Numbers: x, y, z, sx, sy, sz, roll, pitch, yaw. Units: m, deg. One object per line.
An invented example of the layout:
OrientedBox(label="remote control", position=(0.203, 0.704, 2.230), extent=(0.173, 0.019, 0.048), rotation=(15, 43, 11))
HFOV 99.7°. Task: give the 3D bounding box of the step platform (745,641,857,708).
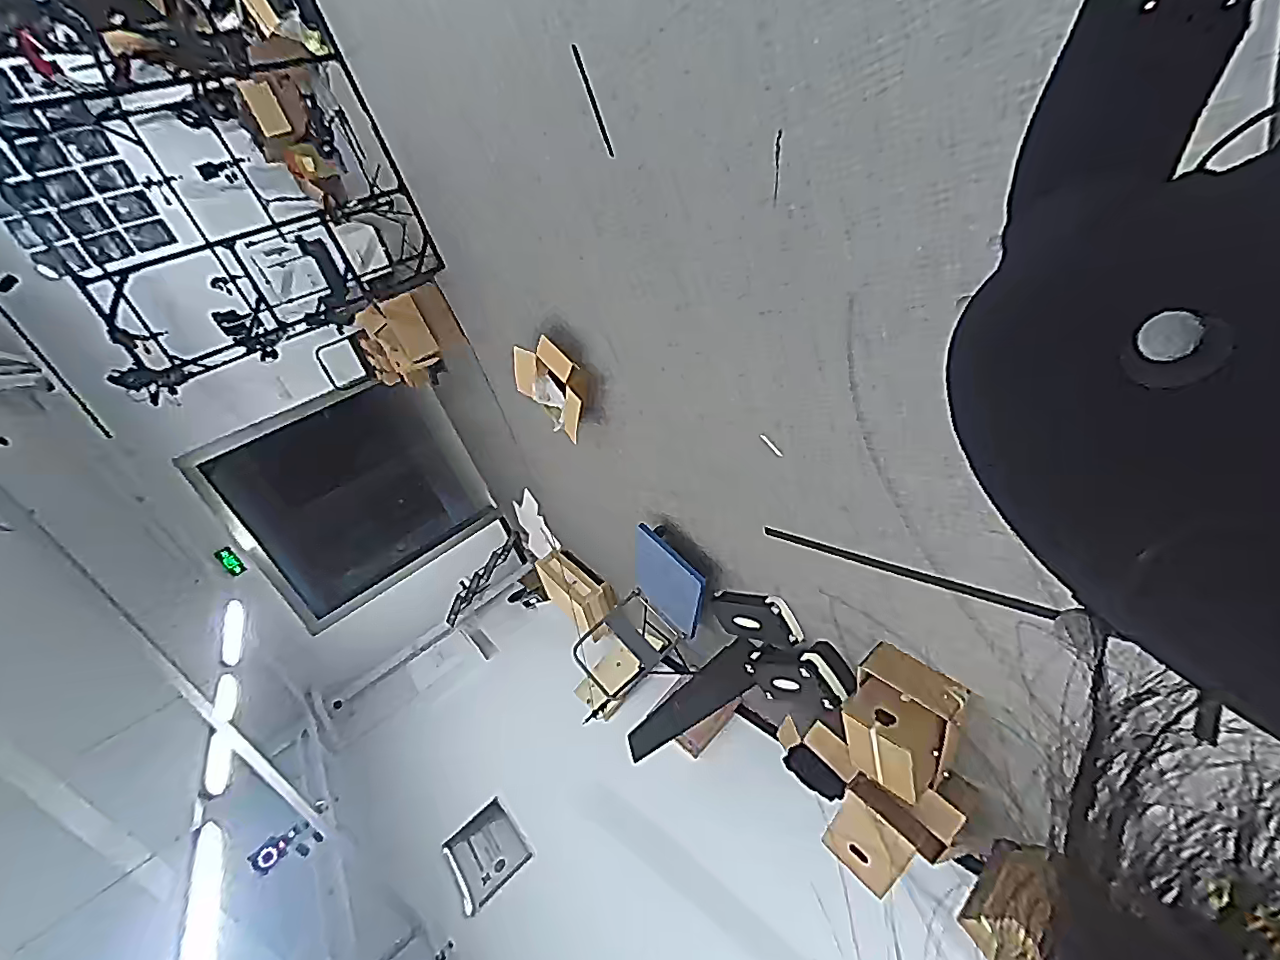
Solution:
OrientedBox(label="step platform", position=(0.878, 1.094, 3.057), extent=(0.286, 0.204, 0.684), rotation=(54, 153, 2))
